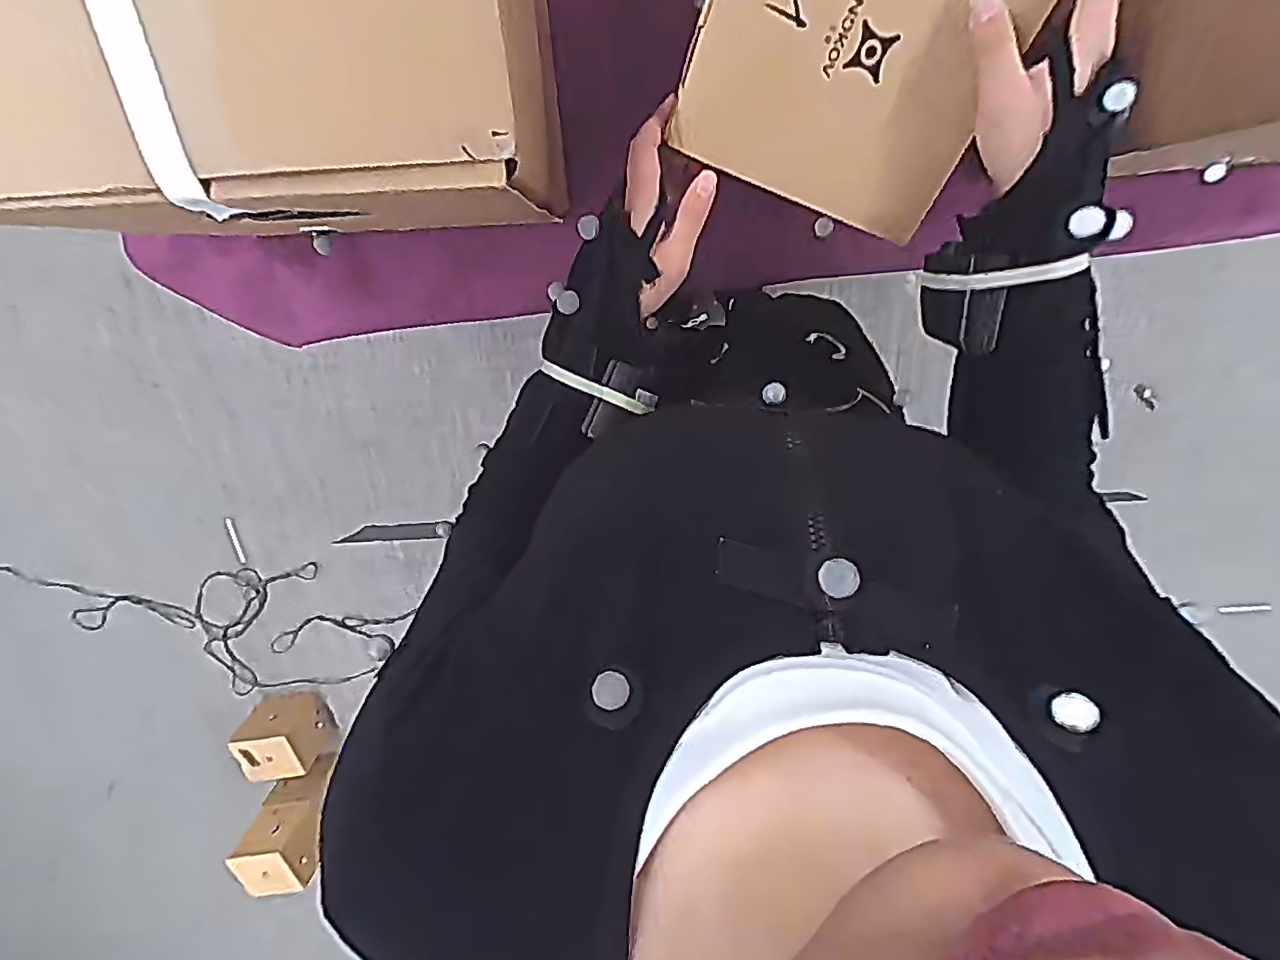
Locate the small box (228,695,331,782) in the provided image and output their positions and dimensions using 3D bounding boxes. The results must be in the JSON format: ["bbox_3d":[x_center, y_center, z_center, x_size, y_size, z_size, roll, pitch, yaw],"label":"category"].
[{"bbox_3d":[-1.095,0.788,1.657,0.179,0.176,0.168,-8,114,2],"label":"small box"}]

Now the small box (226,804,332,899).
[{"bbox_3d":[-1.068,1.099,1.614,0.168,0.176,0.179,-10,113,4],"label":"small box"}]

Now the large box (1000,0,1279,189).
[{"bbox_3d":[0.472,-0.421,0.304,0.320,0.320,0.408,-4,111,1],"label":"large box"}]
